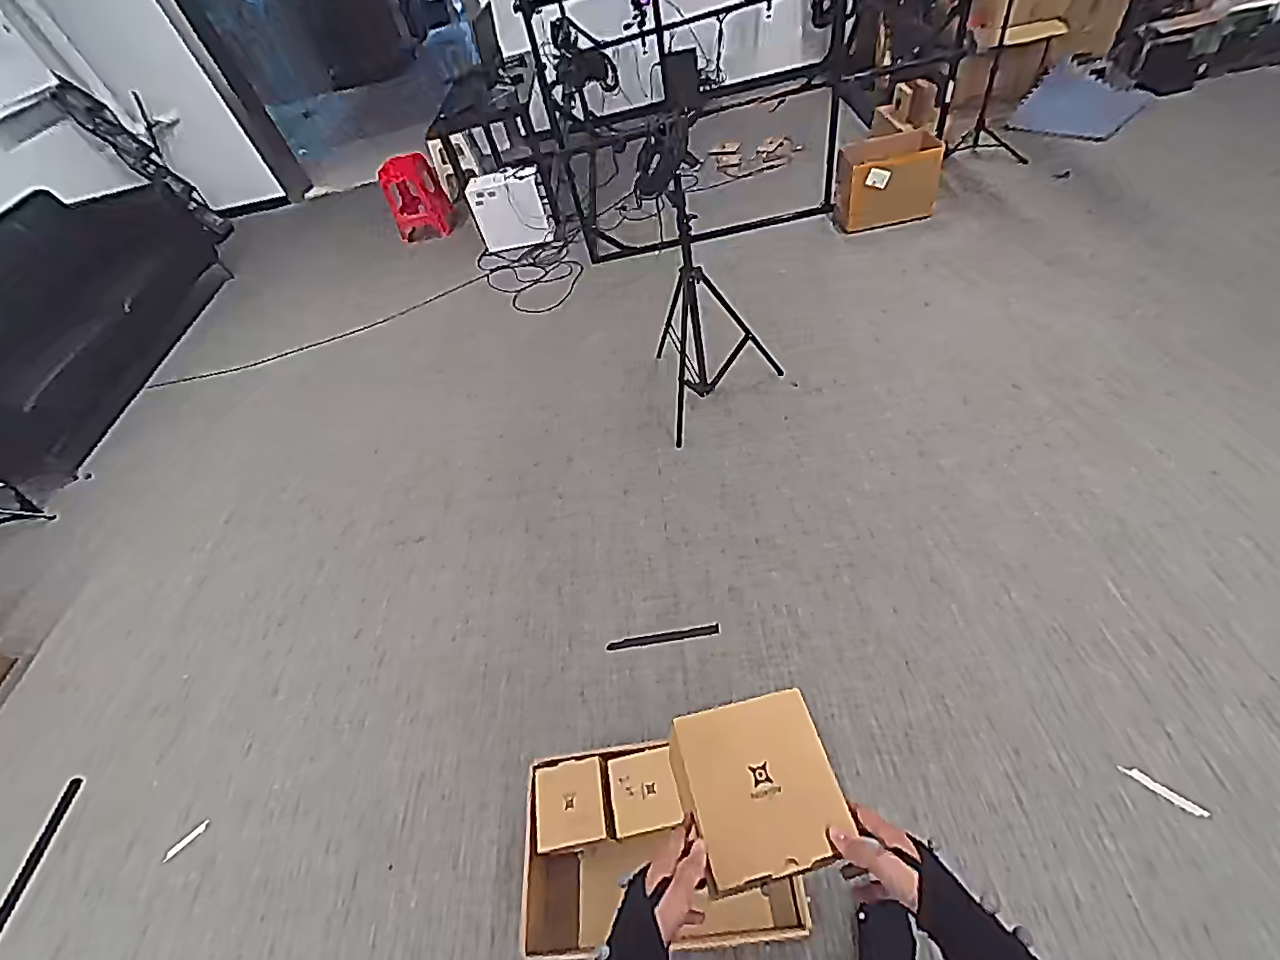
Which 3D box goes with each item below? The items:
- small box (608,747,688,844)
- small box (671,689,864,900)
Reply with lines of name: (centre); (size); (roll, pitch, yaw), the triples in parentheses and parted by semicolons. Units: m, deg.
small box: (0.032, 0.774, 1.322); (0.179, 0.176, 0.168); (-14, 50, 2)
small box: (0.137, 0.387, 0.664); (0.168, 0.176, 0.179); (-11, 51, -8)
